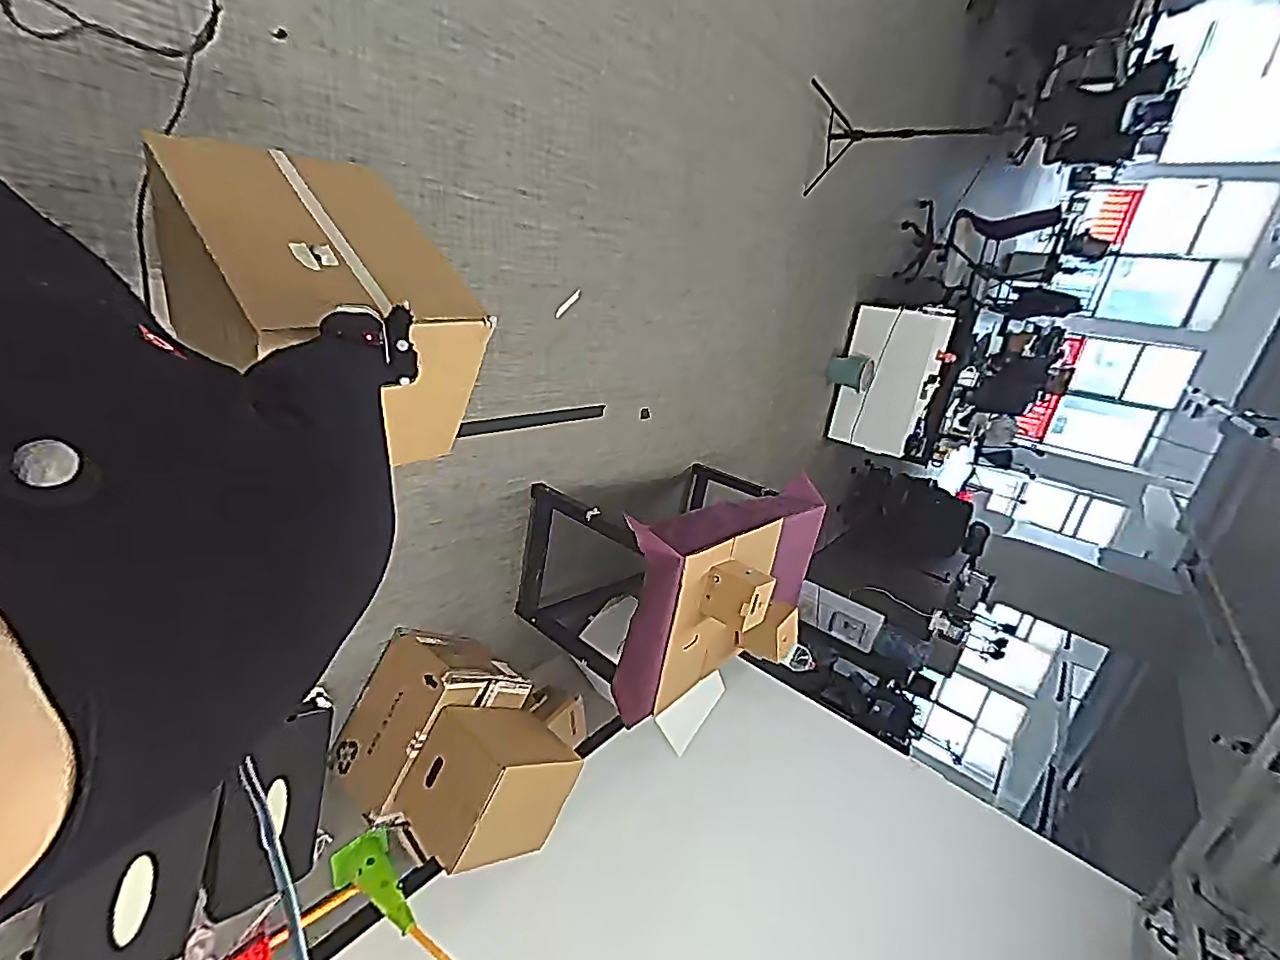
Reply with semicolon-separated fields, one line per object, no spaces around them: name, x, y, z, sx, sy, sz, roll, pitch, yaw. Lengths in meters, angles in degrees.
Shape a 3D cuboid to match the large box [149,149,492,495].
large box;-0.517;-0.250;0.881;0.320;0.408;0.320;-22;157;-45
